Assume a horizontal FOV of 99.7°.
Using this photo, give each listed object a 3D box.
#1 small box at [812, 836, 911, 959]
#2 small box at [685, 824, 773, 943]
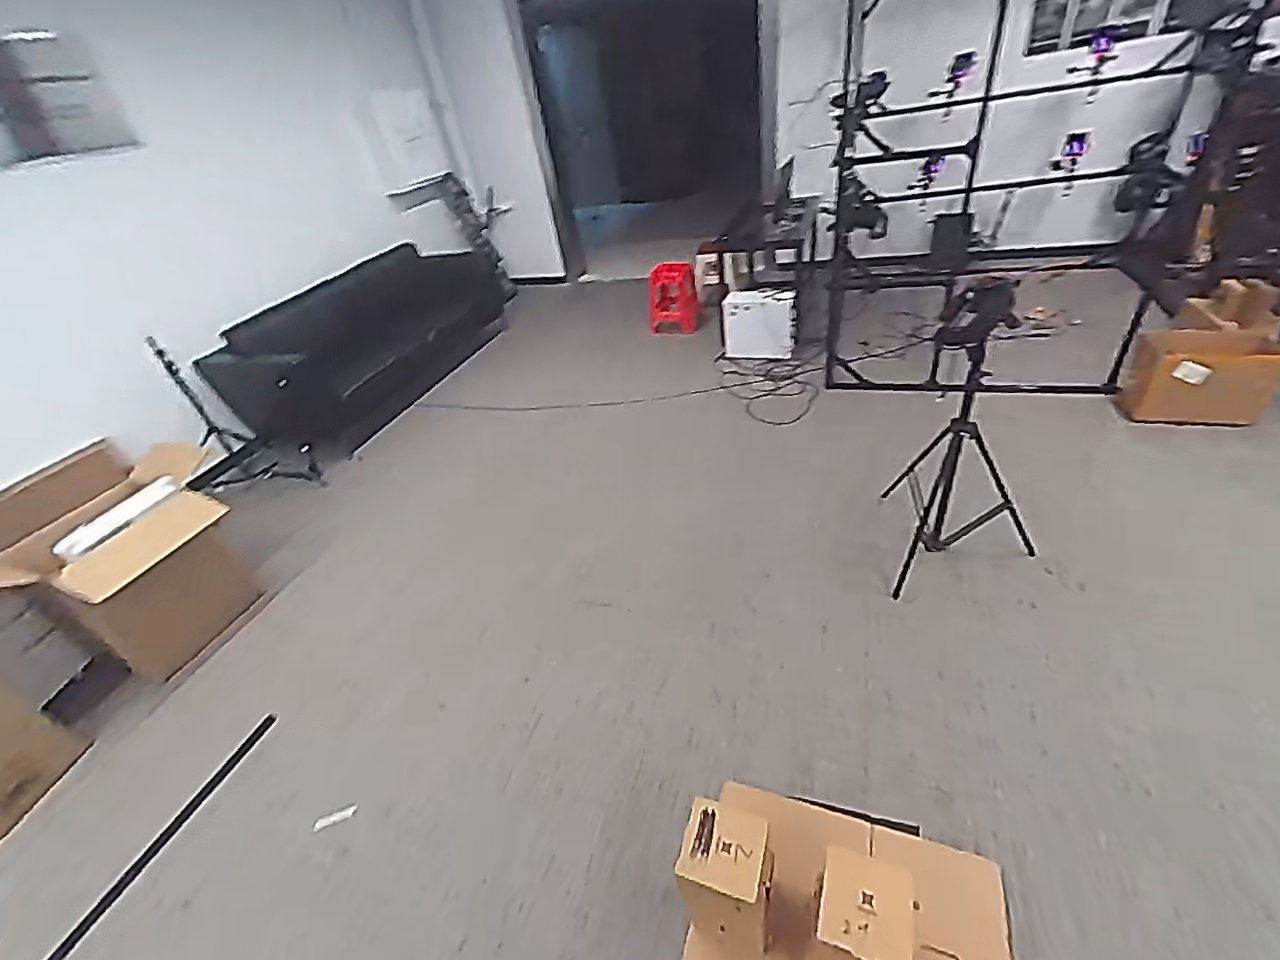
[{"bbox_3d":[0.451,0.885,1.112,0.168,0.176,0.179,8,40,23],"label":"small box"},{"bbox_3d":[0.223,0.982,1.314,0.179,0.176,0.168,5,39,22],"label":"small box"}]
